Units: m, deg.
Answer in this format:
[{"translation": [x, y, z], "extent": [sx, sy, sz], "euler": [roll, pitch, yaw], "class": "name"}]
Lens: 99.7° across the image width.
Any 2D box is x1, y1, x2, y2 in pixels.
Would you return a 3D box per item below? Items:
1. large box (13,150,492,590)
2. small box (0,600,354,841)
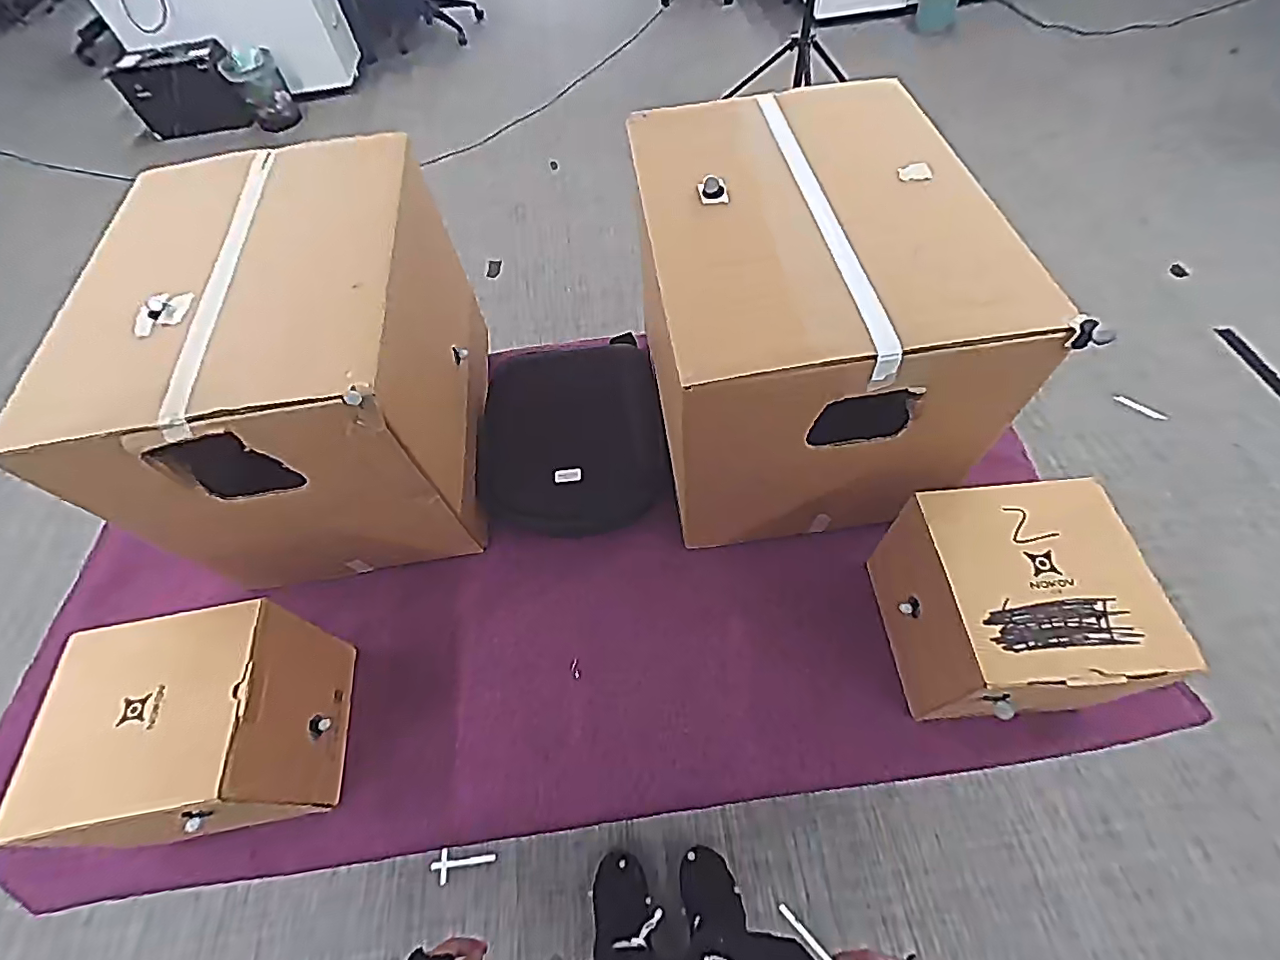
[{"translation": [-0.380, -0.124, 0.663], "extent": [0.320, 0.320, 0.408], "euler": [-10, 60, -1], "class": "large box"}, {"translation": [-0.412, 0.237, 0.522], "extent": [0.179, 0.176, 0.168], "euler": [-11, 57, -4], "class": "small box"}]
